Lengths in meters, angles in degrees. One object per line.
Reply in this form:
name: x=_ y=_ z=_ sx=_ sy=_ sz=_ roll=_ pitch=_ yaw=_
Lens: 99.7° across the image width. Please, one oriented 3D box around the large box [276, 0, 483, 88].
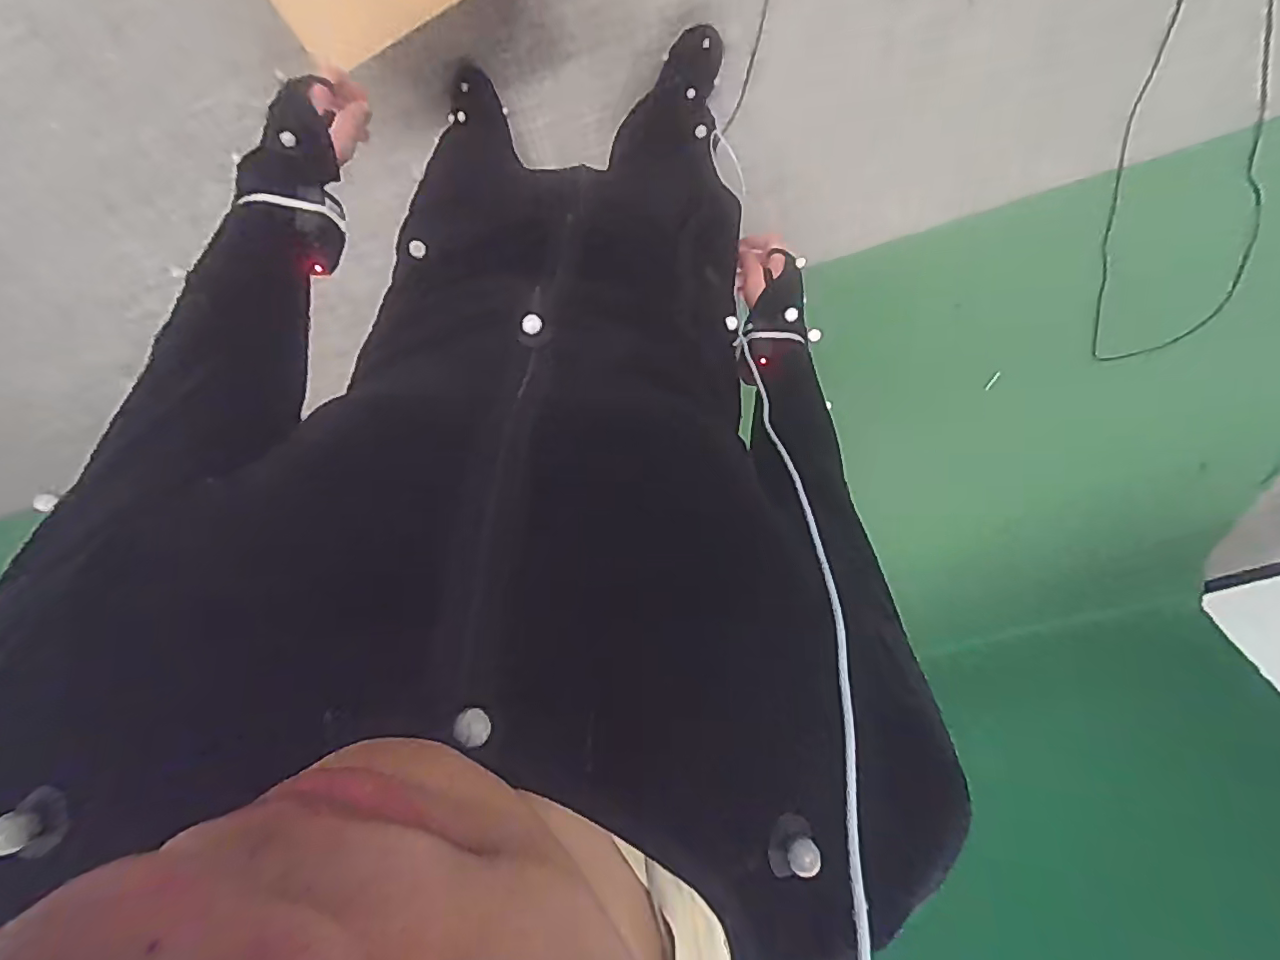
large box: x=-0.412 y=-0.939 z=0.882 sx=0.408 sy=0.320 sz=0.320 roll=-21 pitch=133 yaw=12
